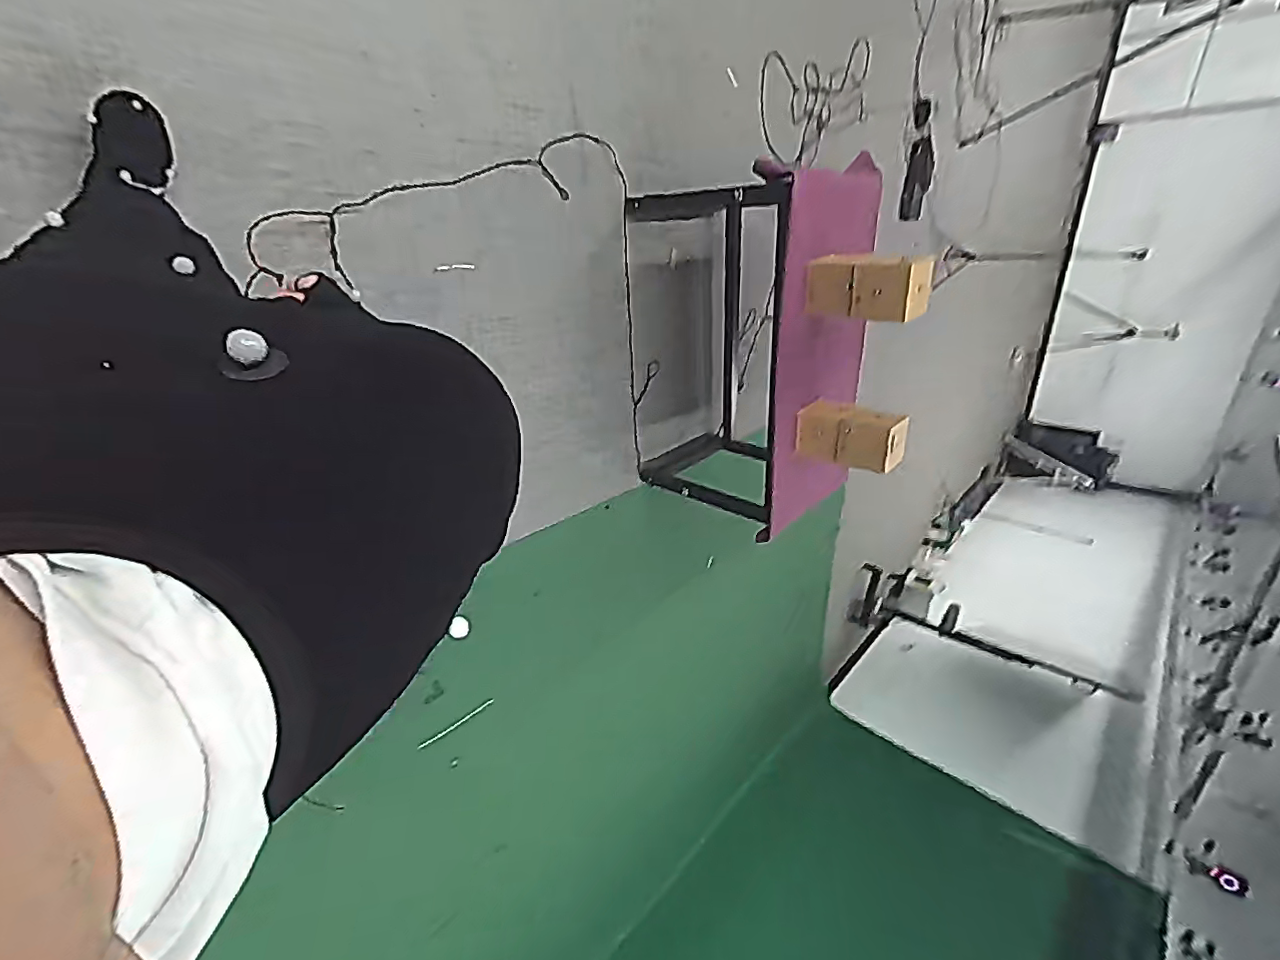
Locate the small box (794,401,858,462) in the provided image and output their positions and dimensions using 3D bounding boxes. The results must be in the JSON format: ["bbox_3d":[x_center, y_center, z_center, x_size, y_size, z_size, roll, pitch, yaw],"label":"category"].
[{"bbox_3d":[0.675,-0.180,1.970,0.179,0.176,0.168,-29,124,-40],"label":"small box"}]

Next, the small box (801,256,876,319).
[{"bbox_3d":[0.646,-0.632,1.763,0.179,0.176,0.168,-32,126,-37],"label":"small box"}]

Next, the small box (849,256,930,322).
[{"bbox_3d":[0.754,-0.584,1.646,0.179,0.176,0.168,-31,127,-38],"label":"small box"}]

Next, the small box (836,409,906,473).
[{"bbox_3d":[0.789,-0.139,1.859,0.179,0.176,0.168,-26,122,-43],"label":"small box"}]
